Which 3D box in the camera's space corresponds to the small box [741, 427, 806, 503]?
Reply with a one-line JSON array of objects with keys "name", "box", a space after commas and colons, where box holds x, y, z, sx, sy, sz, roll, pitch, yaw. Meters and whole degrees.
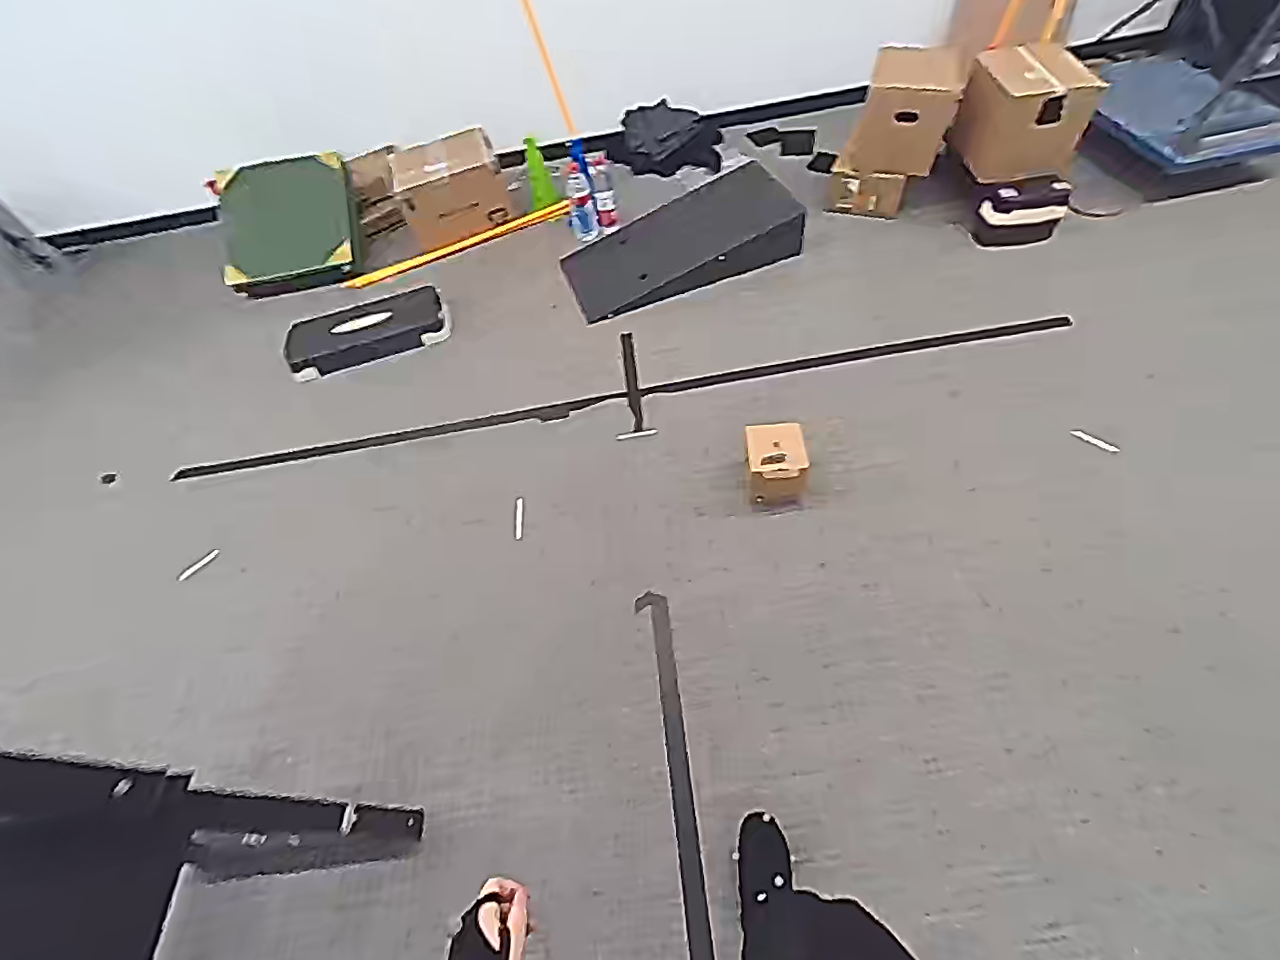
[{"name": "small box", "box": [0.402, -0.039, 1.653, 0.168, 0.176, 0.179, -4, 54, 5]}]
